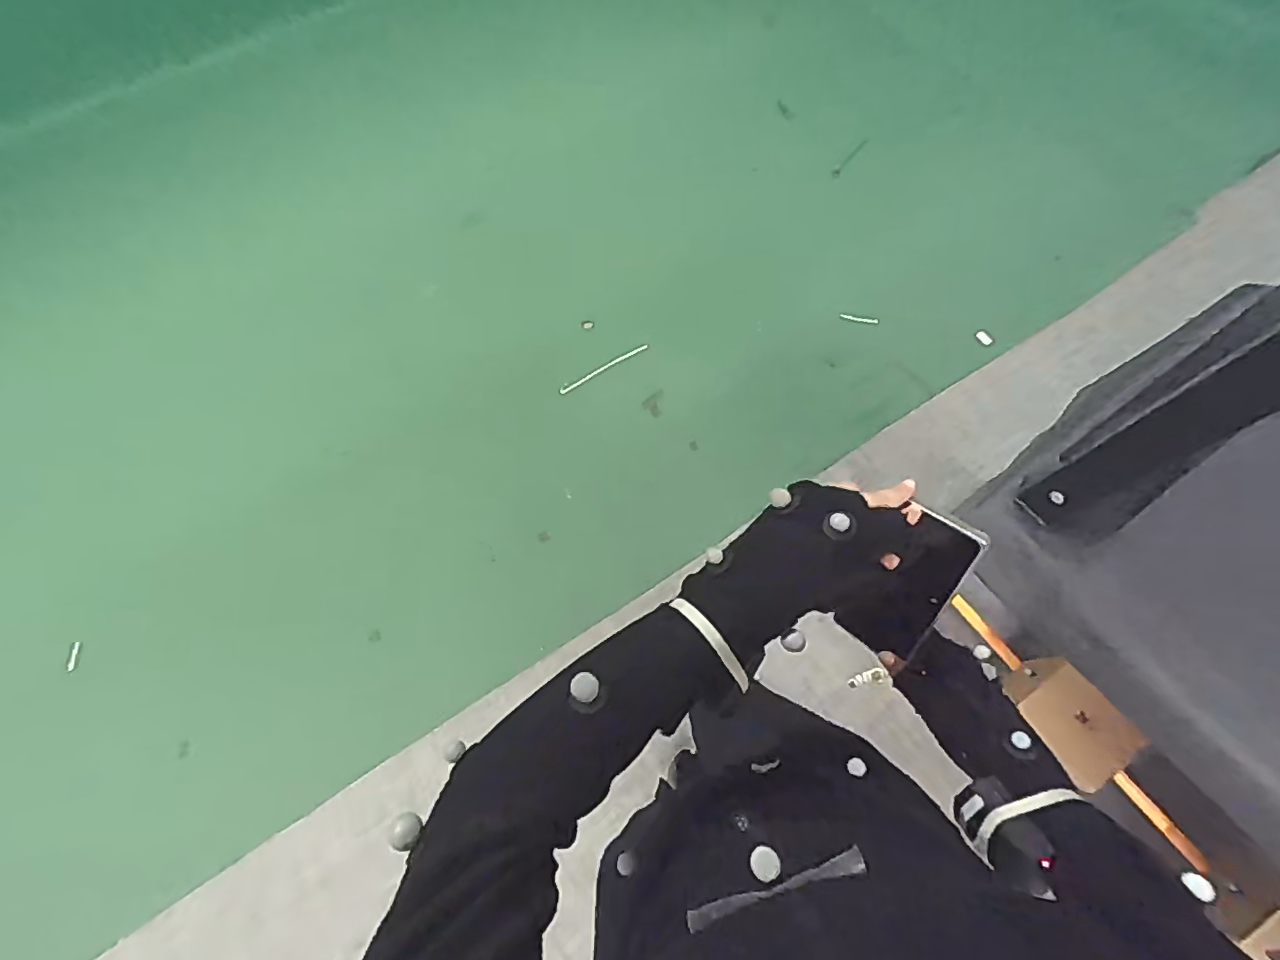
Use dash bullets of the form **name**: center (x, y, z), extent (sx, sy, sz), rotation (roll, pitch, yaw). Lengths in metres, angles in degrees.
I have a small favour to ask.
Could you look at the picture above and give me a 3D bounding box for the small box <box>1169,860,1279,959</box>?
- **small box**: center (1.072, 0.791, 0.916), extent (0.179, 0.176, 0.168), rotation (-29, 68, -9)
